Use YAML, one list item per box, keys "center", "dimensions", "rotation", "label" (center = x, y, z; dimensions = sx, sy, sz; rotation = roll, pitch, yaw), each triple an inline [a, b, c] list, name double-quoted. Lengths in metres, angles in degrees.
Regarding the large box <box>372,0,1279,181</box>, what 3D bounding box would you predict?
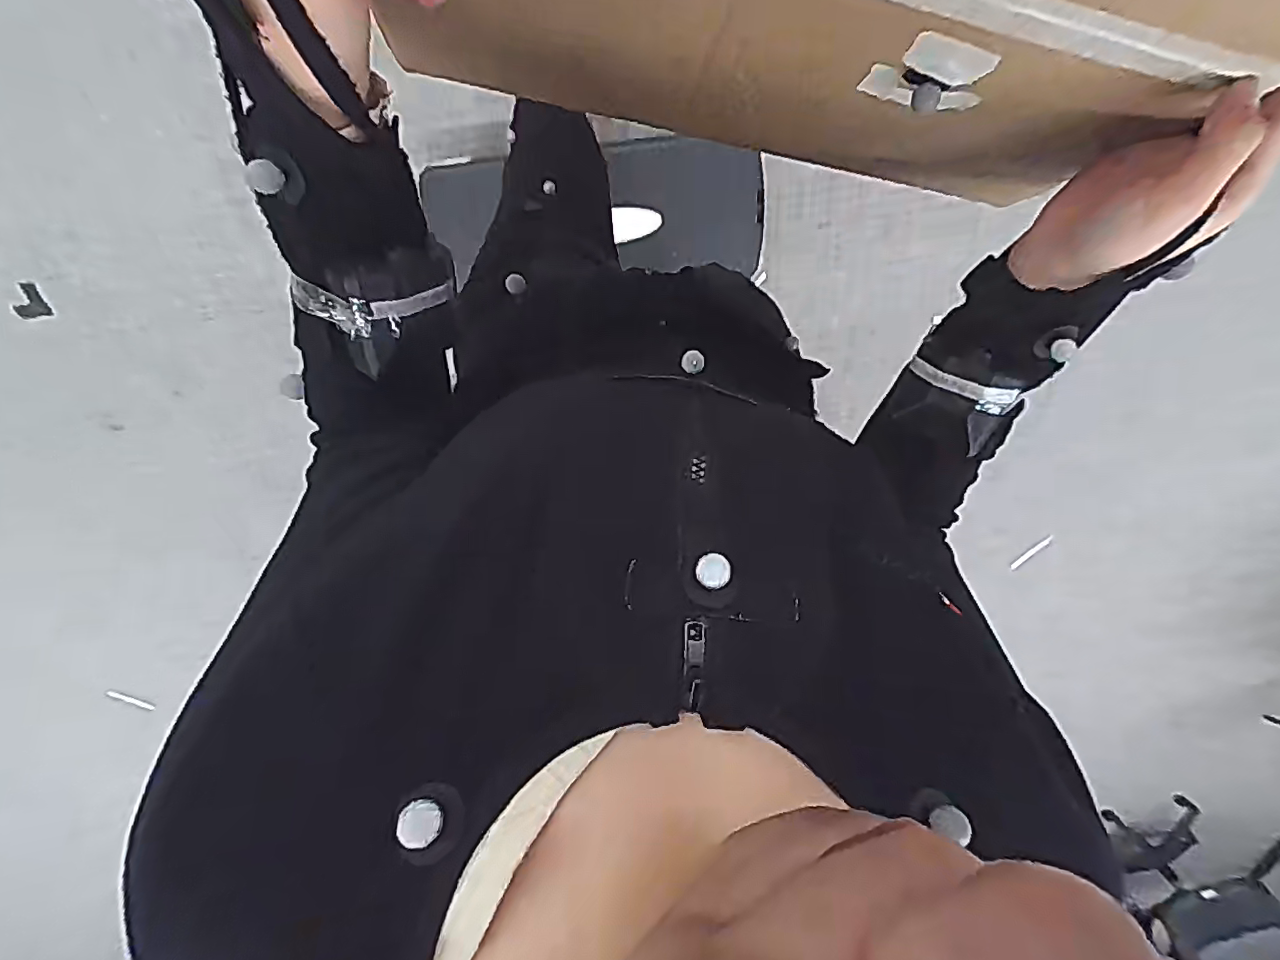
- center: [0.090, -0.356, 0.182]
  dimensions: [0.408, 0.320, 0.320]
  rotation: [6, 98, -9]
  label: "large box"
